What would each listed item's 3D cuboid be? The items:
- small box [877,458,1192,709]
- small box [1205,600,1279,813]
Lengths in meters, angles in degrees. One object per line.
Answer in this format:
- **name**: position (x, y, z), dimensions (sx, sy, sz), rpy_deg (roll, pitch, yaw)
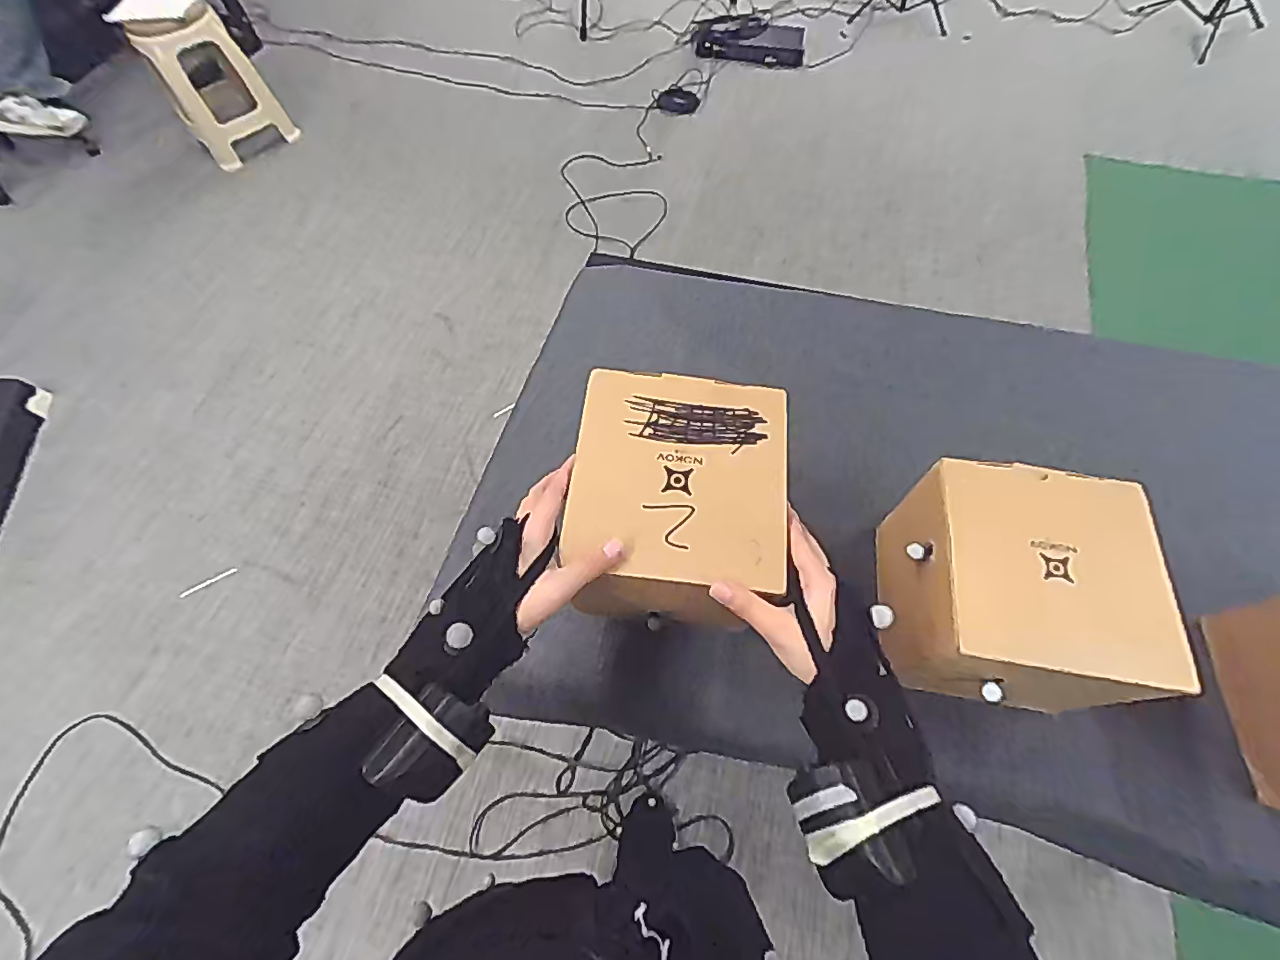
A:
- **small box**: position (0.334, 0.104, 0.505), dimensions (0.168, 0.176, 0.179), rpy_deg (8, 62, 6)
- **small box**: position (0.643, 0.191, 0.448), dimensions (0.168, 0.176, 0.179), rpy_deg (6, 63, 7)
